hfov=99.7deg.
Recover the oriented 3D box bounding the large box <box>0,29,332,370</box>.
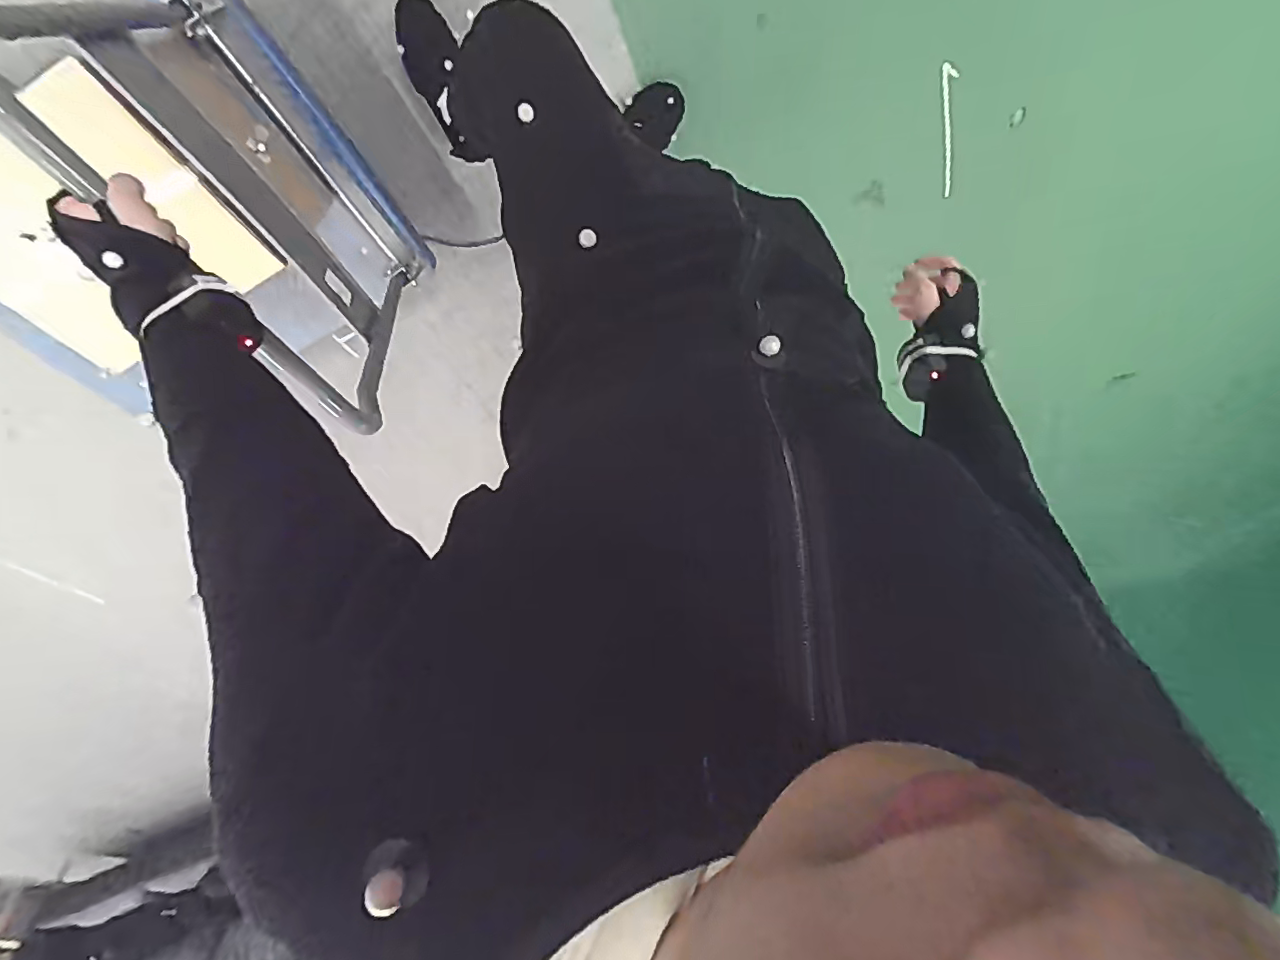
[{"bbox_3d":[-0.827,-0.469,0.922,0.408,0.320,0.320,-25,133,11],"label":"large box"}]
